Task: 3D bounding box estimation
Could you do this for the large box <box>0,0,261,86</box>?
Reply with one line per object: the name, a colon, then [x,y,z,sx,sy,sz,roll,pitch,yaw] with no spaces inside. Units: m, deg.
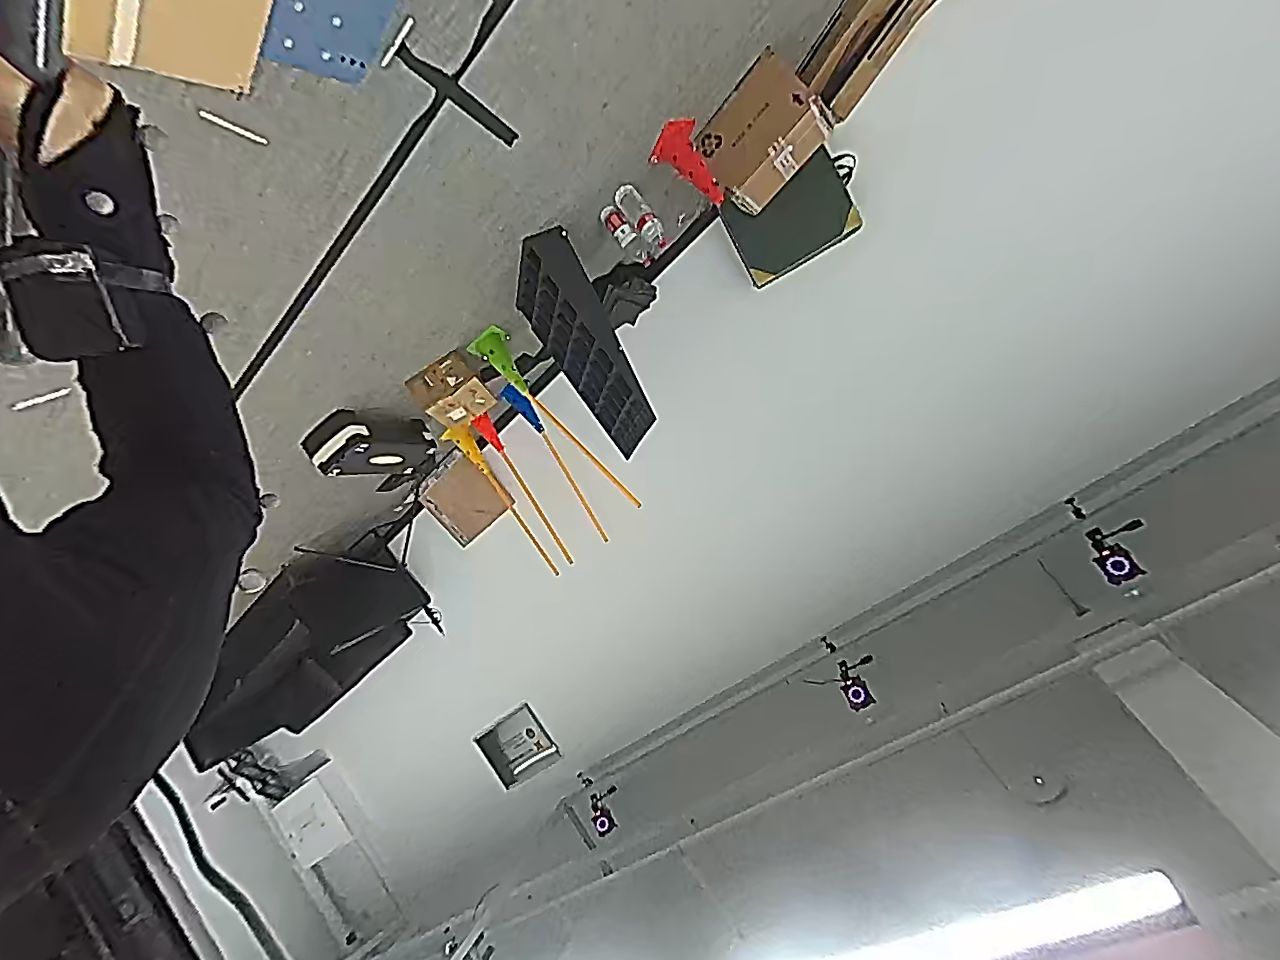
large box: [-0.600,-0.720,0.528,0.408,0.320,0.320,-39,-179,32]
